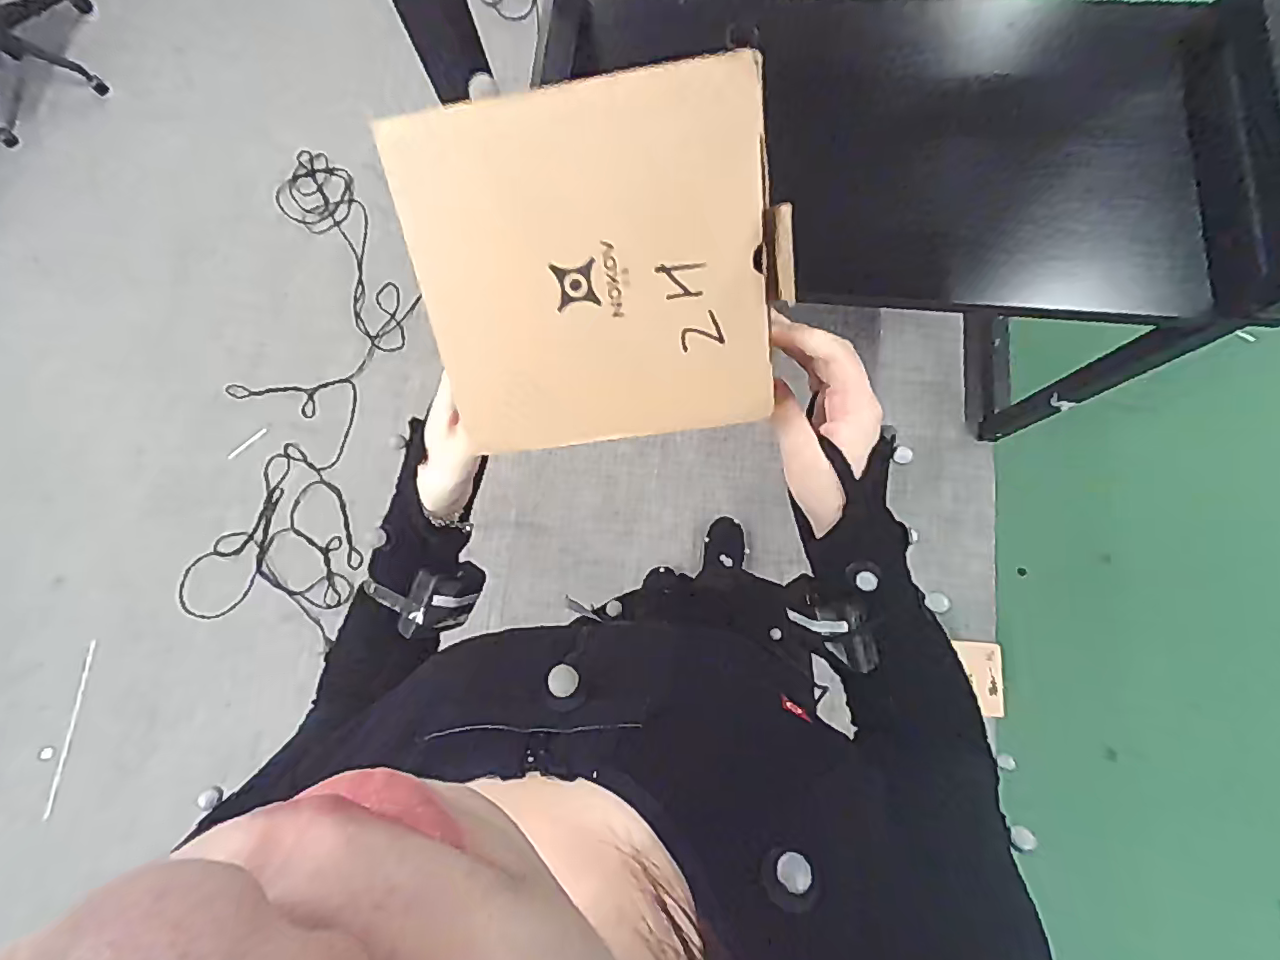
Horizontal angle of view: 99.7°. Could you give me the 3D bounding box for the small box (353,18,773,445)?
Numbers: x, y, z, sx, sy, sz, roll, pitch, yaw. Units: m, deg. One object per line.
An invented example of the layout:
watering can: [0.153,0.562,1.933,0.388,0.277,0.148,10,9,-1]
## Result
small box: [-0.024,-0.134,0.325,0.179,0.176,0.168,-7,116,5]

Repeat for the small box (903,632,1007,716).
small box: [0.767,0.470,1.335,0.179,0.176,0.168,4,79,5]
